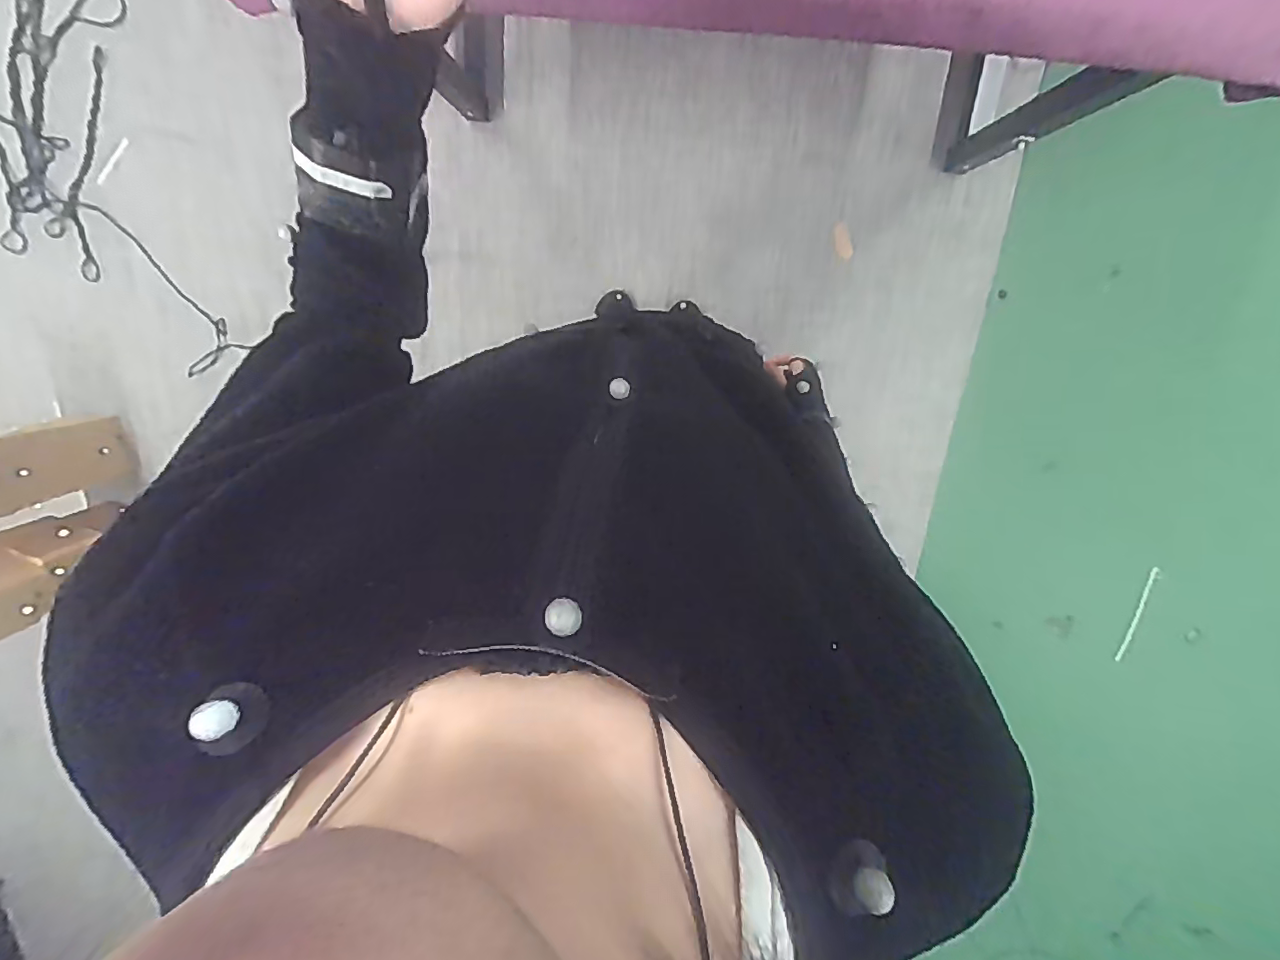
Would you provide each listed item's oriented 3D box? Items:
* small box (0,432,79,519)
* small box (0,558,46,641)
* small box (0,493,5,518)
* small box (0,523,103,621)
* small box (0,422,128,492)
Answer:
[{"bbox_3d":[-1.575,-0.009,1.343,0.168,0.176,0.179,-7,107,4],"label":"small box"},{"bbox_3d":[-1.577,0.291,1.266,0.179,0.176,0.168,26,106,-5],"label":"small box"},{"bbox_3d":[-1.576,0.036,1.186,0.179,0.176,0.168,1,107,0],"label":"small box"},{"bbox_3d":[-1.578,0.240,1.422,0.168,0.176,0.179,21,106,-3],"label":"small box"},{"bbox_3d":[-1.581,-0.065,1.496,0.179,0.176,0.168,-2,107,4],"label":"small box"}]
